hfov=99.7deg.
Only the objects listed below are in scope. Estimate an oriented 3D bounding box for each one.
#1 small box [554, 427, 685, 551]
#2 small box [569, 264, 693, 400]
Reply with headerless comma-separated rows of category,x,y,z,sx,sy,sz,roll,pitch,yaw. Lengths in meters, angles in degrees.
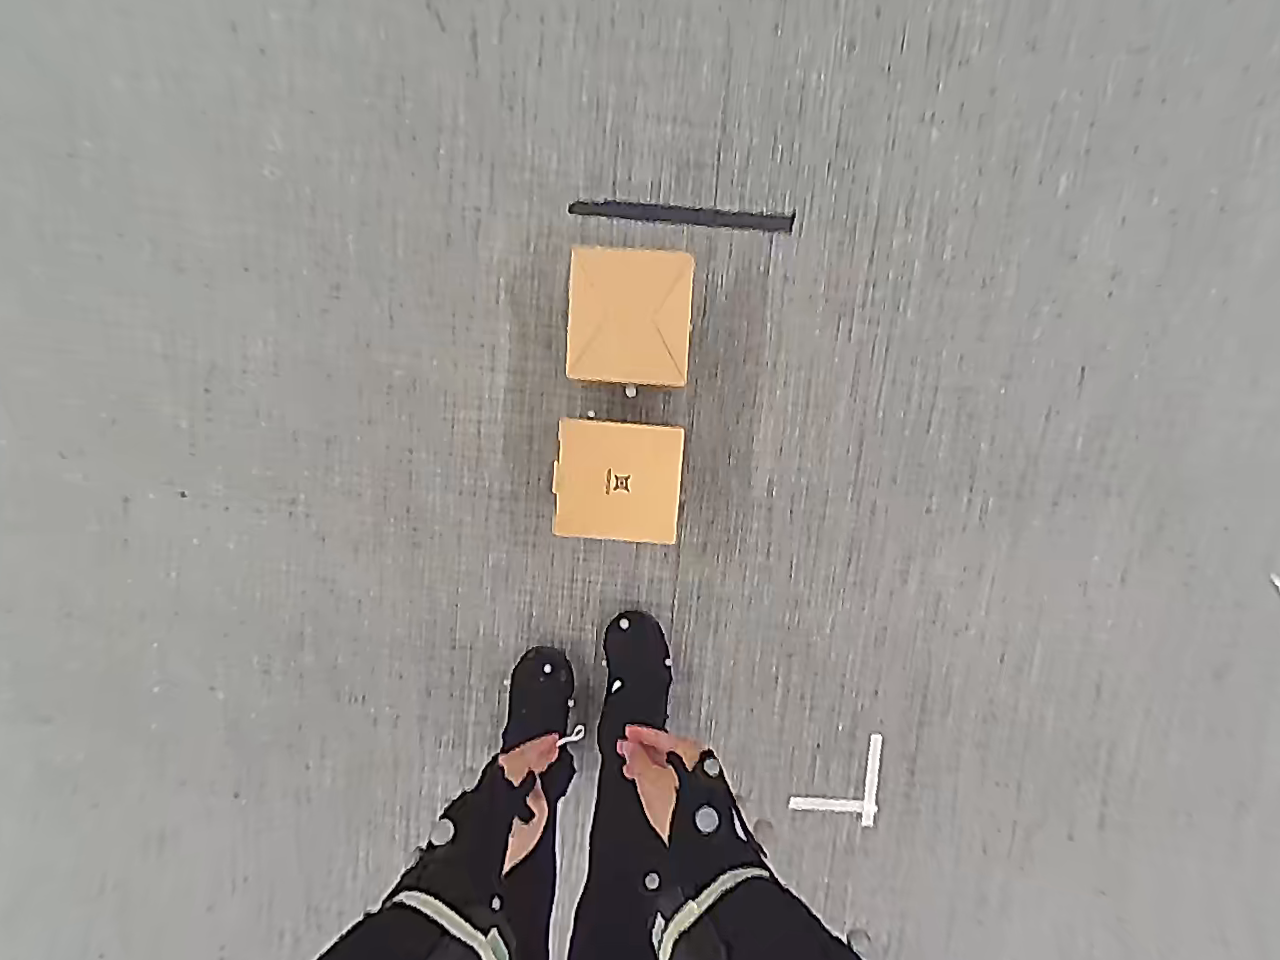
small box,-0.030,0.006,0.840,0.179,0.176,0.168,5,95,0
small box,-0.013,-0.216,0.814,0.168,0.176,0.179,4,95,0
